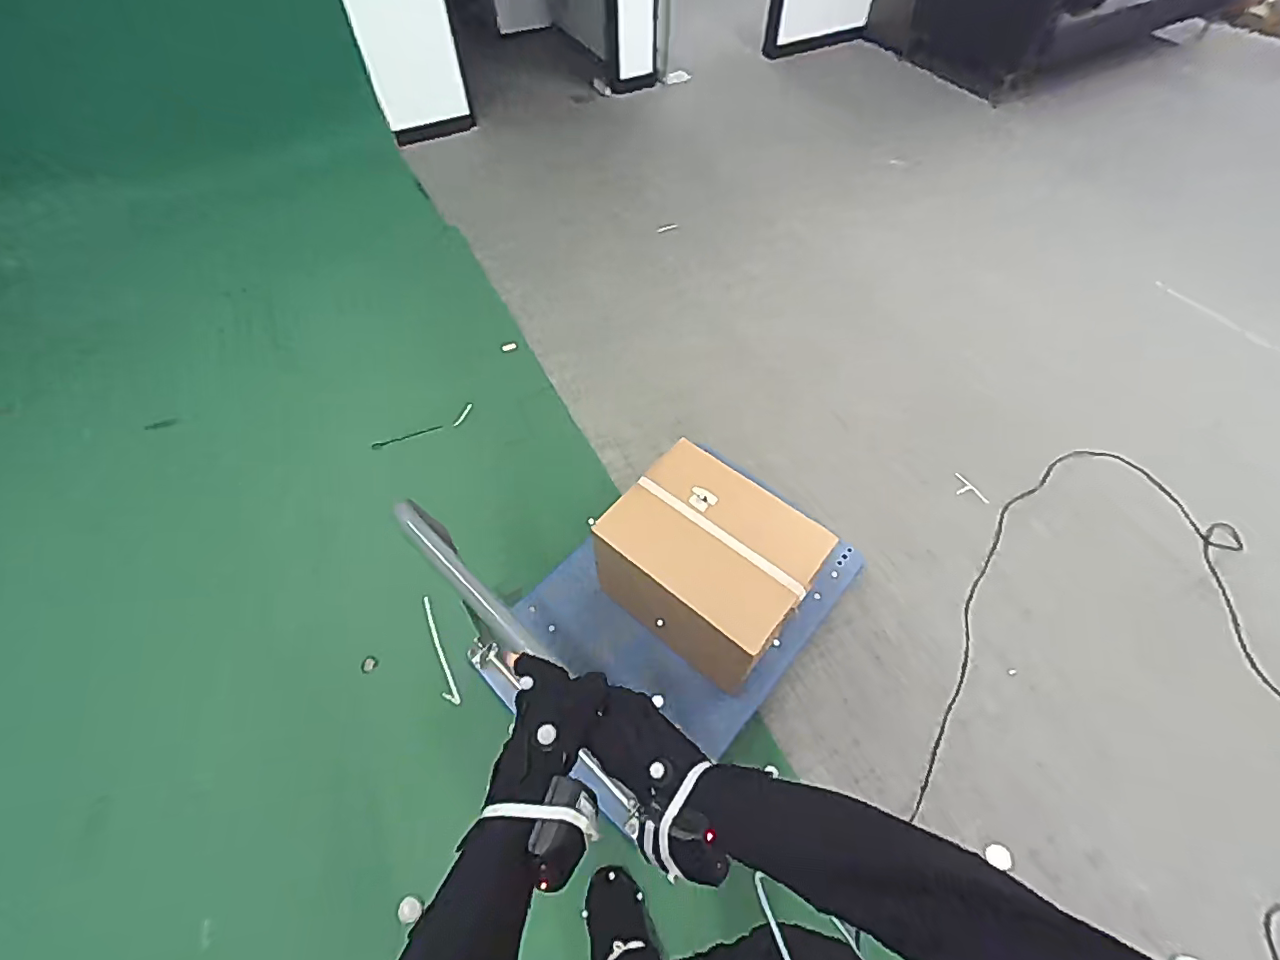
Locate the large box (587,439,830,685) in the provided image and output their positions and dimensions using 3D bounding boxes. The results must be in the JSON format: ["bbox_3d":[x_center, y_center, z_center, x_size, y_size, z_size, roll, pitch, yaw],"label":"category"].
[{"bbox_3d":[0.141,0.187,1.223,0.408,0.320,0.320,35,62,21],"label":"large box"}]
